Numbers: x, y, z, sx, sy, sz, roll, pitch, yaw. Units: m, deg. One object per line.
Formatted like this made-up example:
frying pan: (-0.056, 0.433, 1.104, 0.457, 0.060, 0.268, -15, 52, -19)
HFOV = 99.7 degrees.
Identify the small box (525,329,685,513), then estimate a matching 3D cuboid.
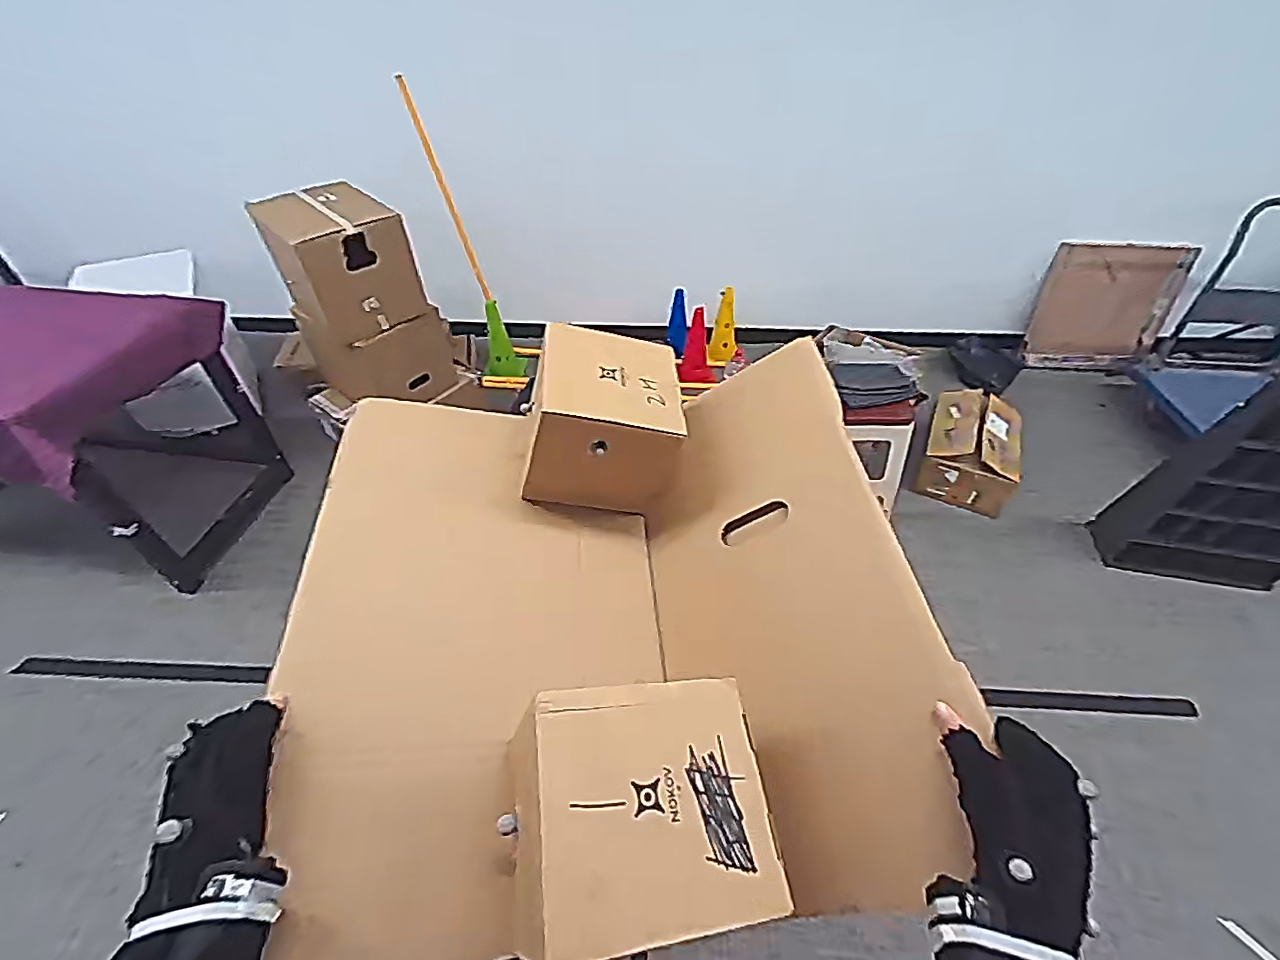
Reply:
small box: (-0.054, -0.071, 0.729, 0.179, 0.176, 0.168, 9, 50, -15)

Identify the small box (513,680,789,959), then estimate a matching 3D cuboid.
small box: (-0.009, 0.281, 0.460, 0.179, 0.176, 0.168, 3, 52, -18)
